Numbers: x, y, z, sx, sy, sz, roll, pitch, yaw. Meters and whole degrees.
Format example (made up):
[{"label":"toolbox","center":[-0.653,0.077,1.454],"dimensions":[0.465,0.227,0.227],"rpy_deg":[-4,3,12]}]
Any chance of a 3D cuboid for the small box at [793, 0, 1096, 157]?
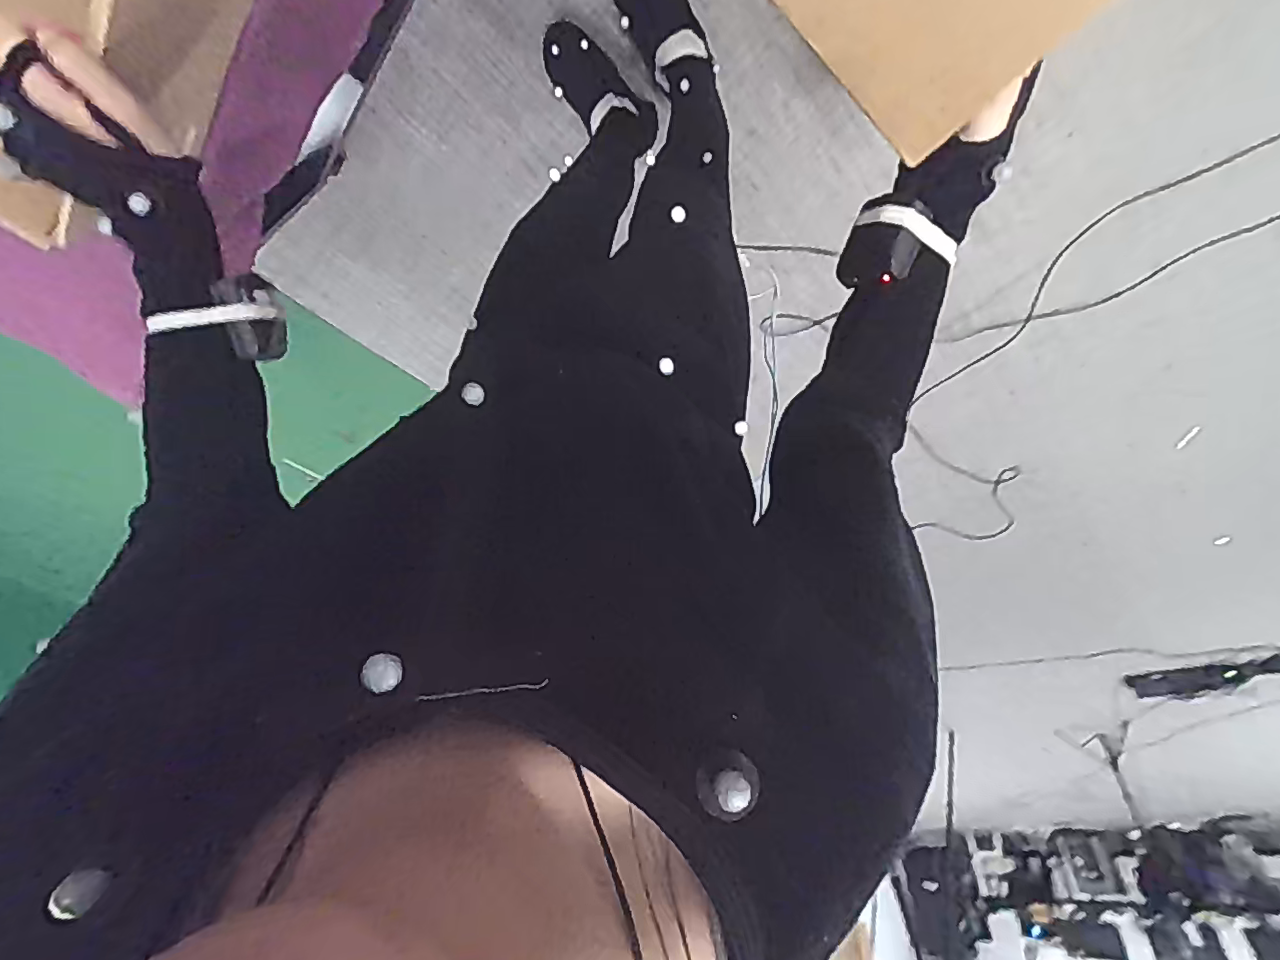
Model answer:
[{"label":"small box","center":[0.171,-0.313,0.257],"dimensions":[0.176,0.179,0.168],"rpy_deg":[43,153,-12]}]
